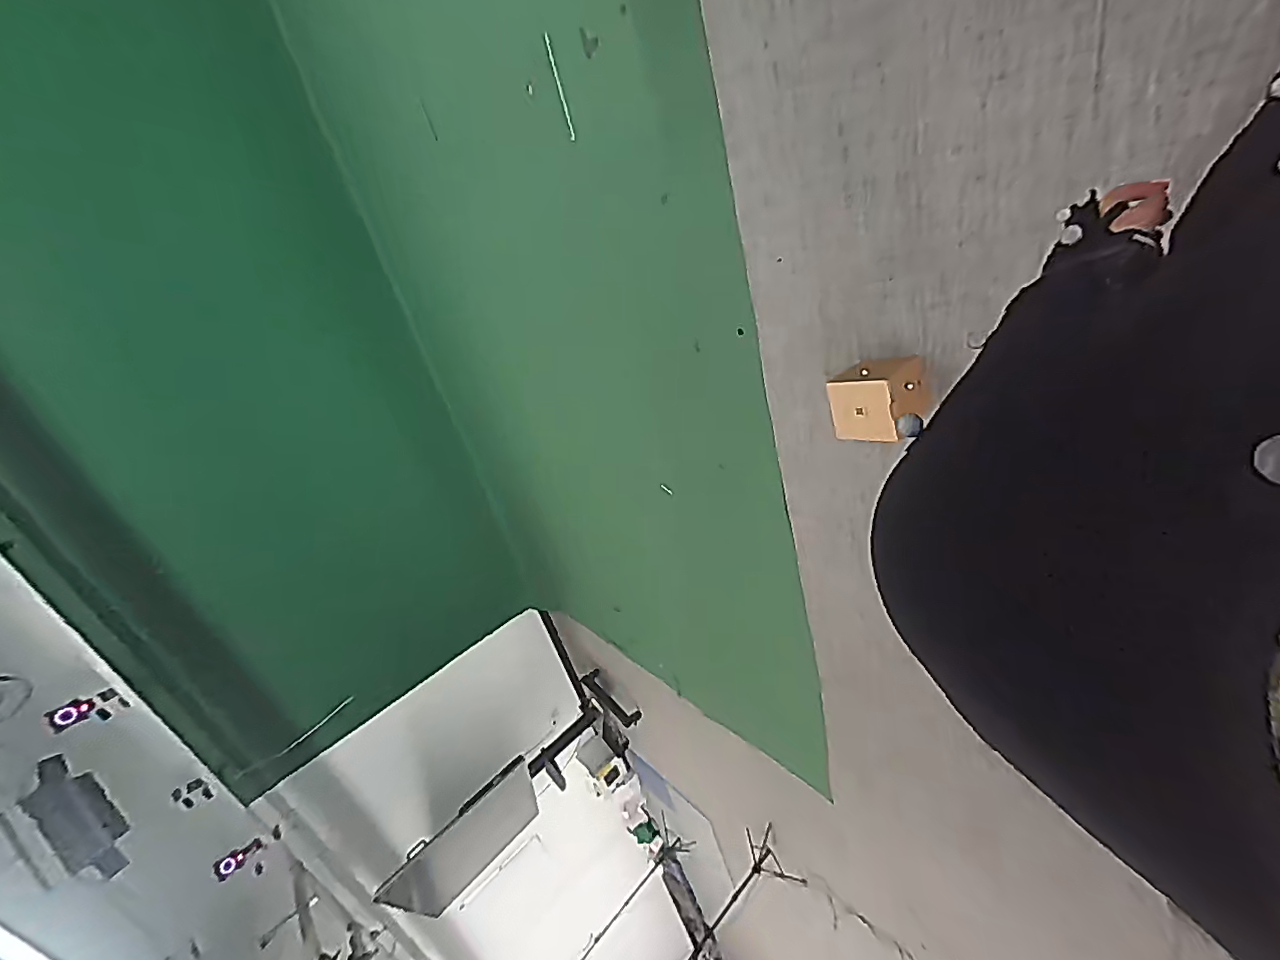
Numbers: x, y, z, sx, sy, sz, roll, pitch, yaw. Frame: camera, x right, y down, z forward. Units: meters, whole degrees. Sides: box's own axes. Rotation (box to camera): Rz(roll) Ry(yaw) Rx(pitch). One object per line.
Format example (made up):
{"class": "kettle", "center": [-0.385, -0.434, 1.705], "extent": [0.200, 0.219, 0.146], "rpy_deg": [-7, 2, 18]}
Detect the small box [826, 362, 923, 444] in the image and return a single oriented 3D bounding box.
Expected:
{"class": "small box", "center": [0.630, -0.207, 1.435], "extent": [0.179, 0.176, 0.168], "rpy_deg": [9, 124, 53]}
